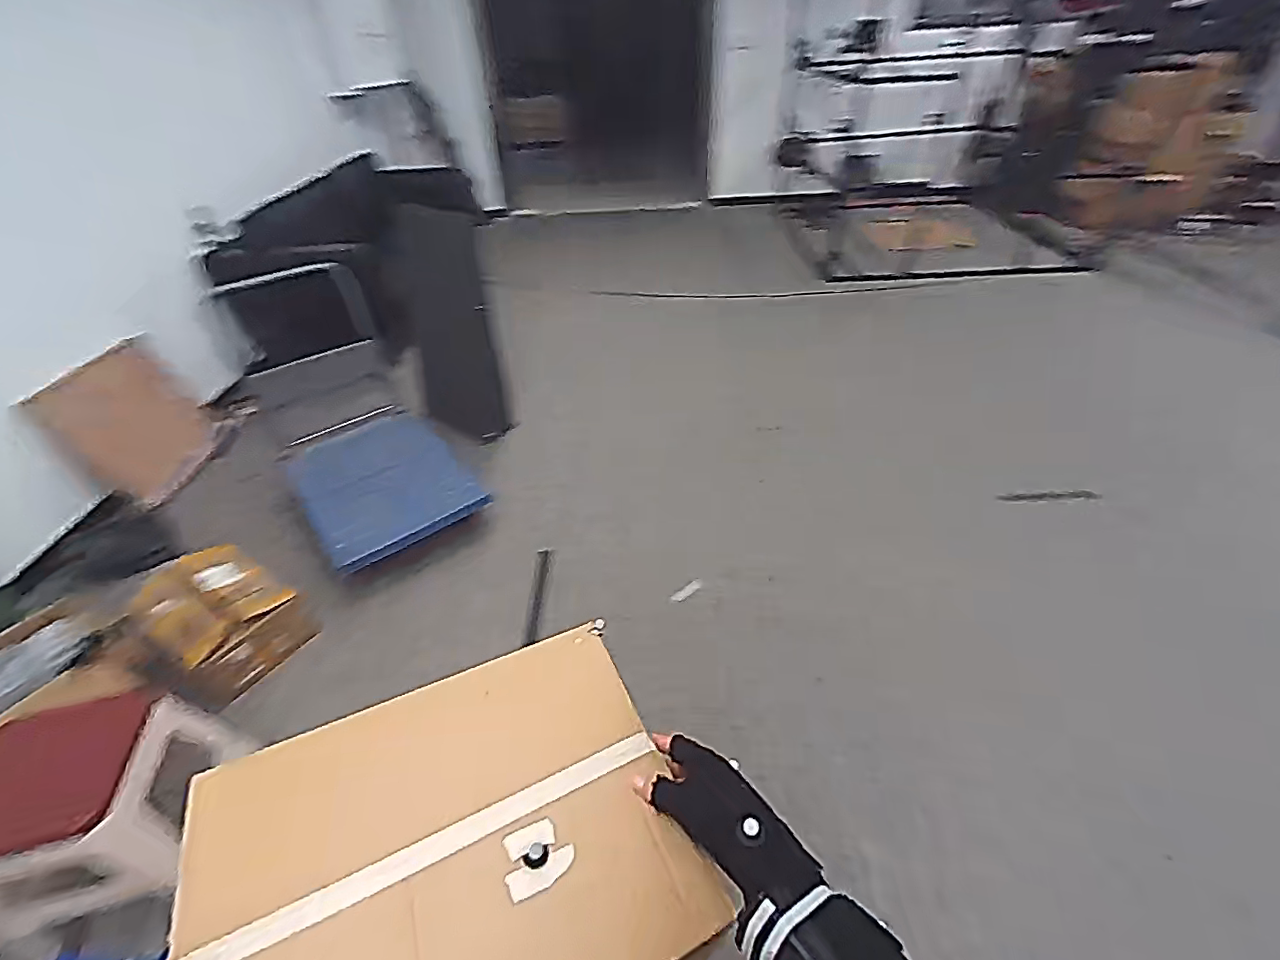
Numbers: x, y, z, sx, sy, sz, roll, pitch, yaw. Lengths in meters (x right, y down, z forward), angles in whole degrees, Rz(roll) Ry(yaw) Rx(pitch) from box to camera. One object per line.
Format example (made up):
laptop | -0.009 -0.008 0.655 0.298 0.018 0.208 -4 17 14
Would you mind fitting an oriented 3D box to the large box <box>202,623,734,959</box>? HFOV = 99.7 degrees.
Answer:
large box | -0.168 0.427 0.583 0.408 0.320 0.320 -15 45 -20
